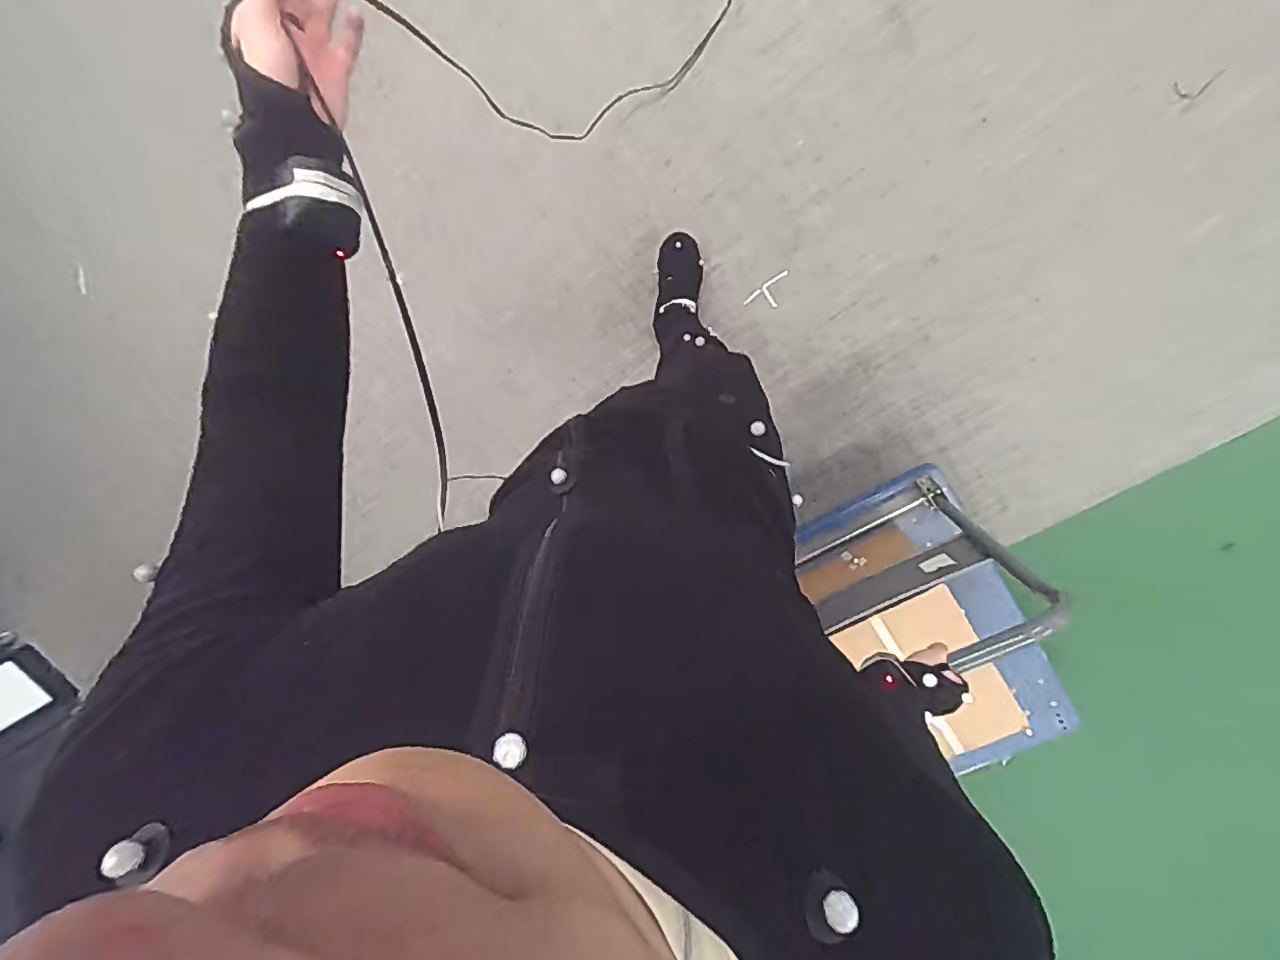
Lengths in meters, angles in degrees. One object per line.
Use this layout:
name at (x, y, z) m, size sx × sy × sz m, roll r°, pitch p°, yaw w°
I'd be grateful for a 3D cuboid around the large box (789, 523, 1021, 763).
large box at (0.617, 0.383, 1.325) m, size 0.320 × 0.320 × 0.408 m, roll -31°, pitch 101°, yaw 17°
